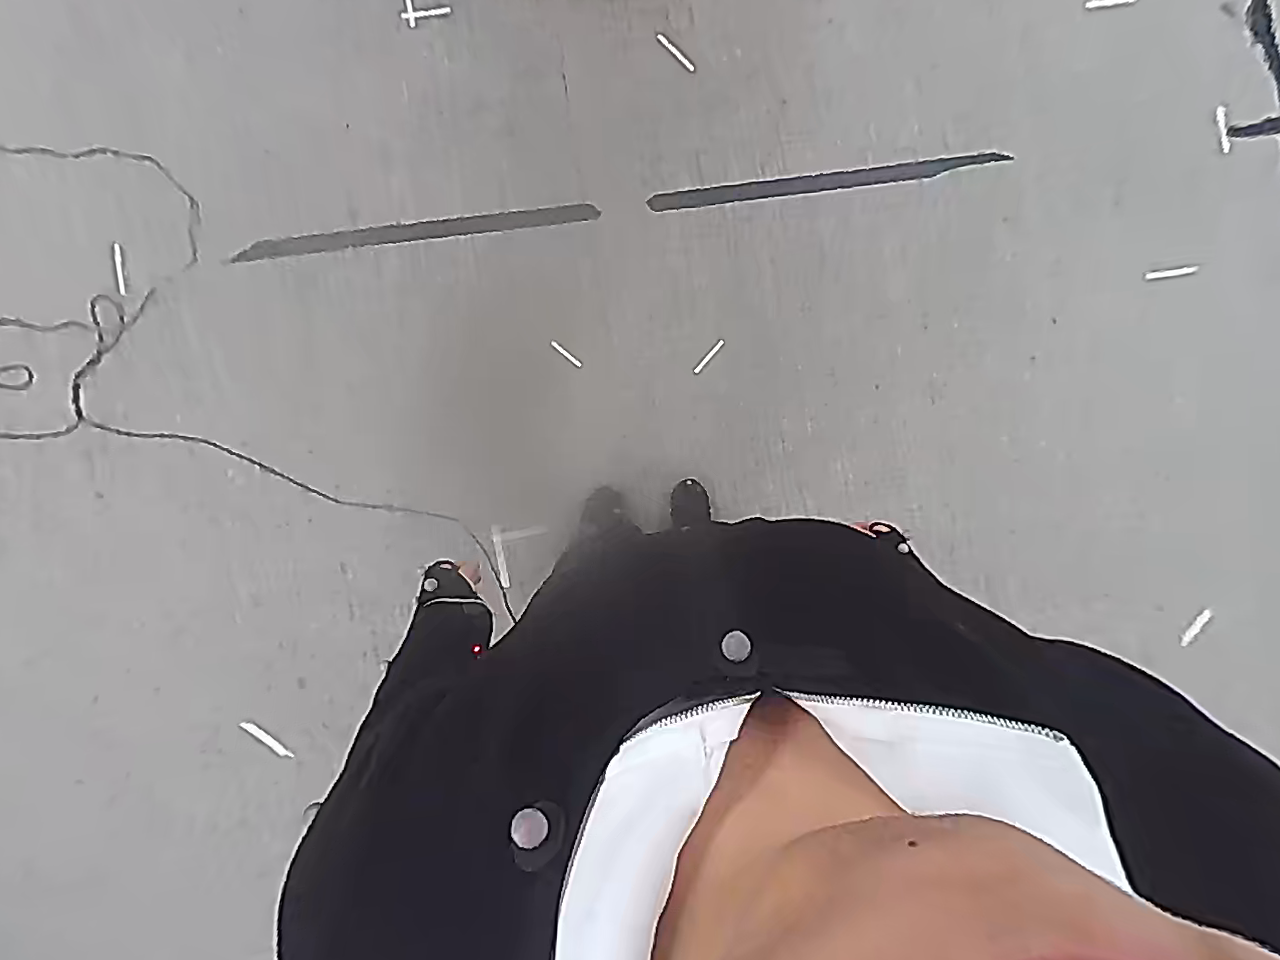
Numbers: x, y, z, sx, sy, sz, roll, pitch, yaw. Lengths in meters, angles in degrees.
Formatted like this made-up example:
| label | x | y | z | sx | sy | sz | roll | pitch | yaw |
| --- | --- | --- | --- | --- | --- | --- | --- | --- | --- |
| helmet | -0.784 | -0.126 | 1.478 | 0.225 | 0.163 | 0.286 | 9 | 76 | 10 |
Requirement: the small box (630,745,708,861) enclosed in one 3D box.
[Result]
| label | x | y | z | sx | sy | sz | roll | pitch | yaw |
| --- | --- | --- | --- | --- | --- | --- | --- | --- | --- |
| small box | 0.065 | 0.773 | 1.306 | 0.168 | 0.176 | 0.179 | -5 | 89 | -3 |

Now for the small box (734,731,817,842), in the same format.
| label | x | y | z | sx | sy | sz | roll | pitch | yaw |
| --- | --- | --- | --- | --- | --- | --- | --- | --- | --- |
| small box | 0.331 | 0.732 | 1.315 | 0.168 | 0.176 | 0.179 | -7 | 89 | -1 |
